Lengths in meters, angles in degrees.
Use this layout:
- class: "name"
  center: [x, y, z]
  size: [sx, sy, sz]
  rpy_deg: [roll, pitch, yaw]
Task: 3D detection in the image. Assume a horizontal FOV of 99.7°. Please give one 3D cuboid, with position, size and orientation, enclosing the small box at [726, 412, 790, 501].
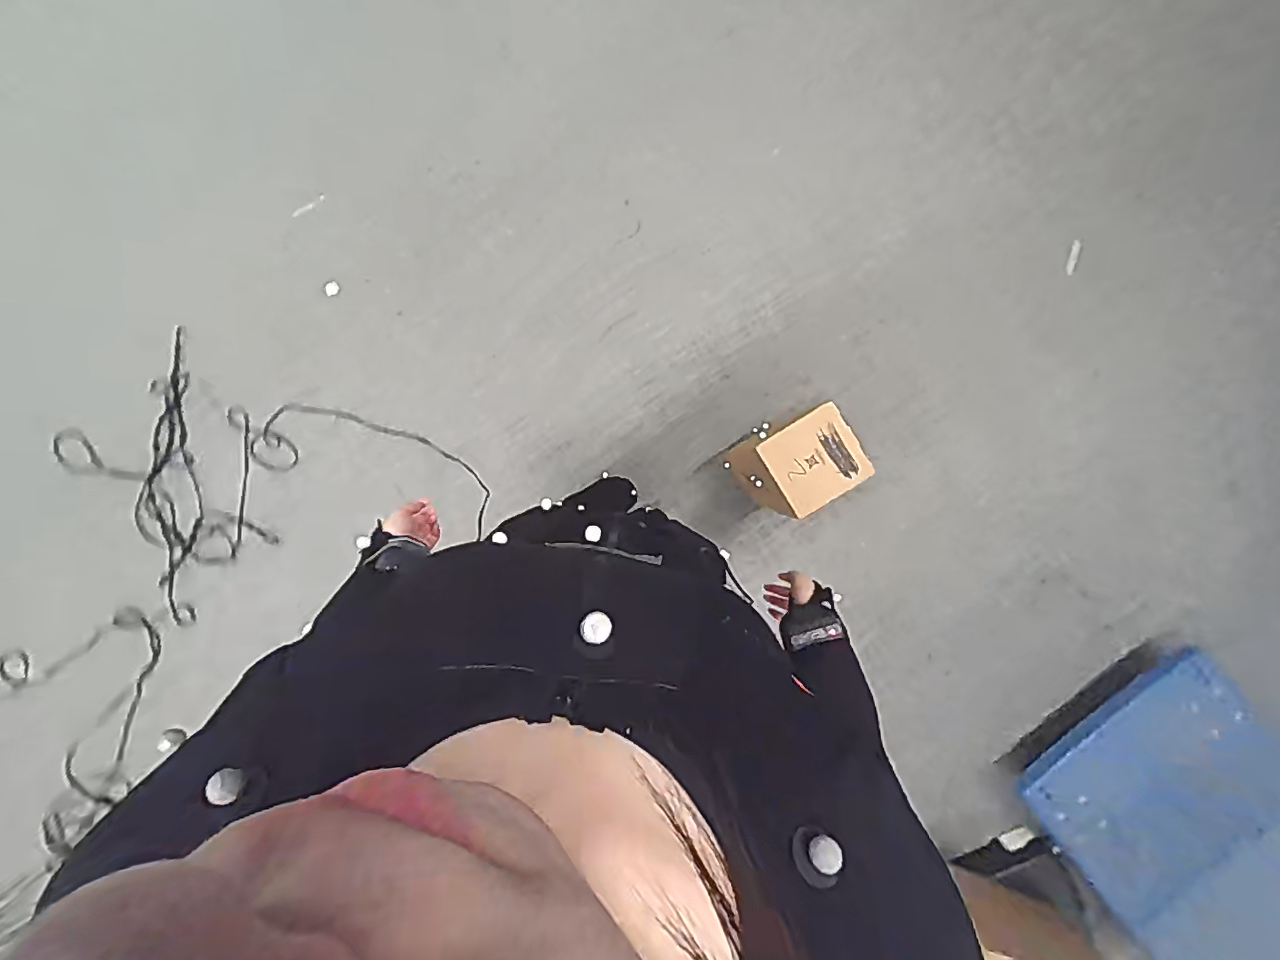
- class: "small box"
  center: [0.343, -0.059, 1.432]
  size: [0.179, 0.176, 0.168]
  rpy_deg: [-32, 91, 0]

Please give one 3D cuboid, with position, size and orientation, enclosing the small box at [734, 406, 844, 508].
- class: "small box"
  center: [0.338, -0.051, 1.268]
  size: [0.168, 0.176, 0.179]
  rpy_deg: [-31, 91, 1]
